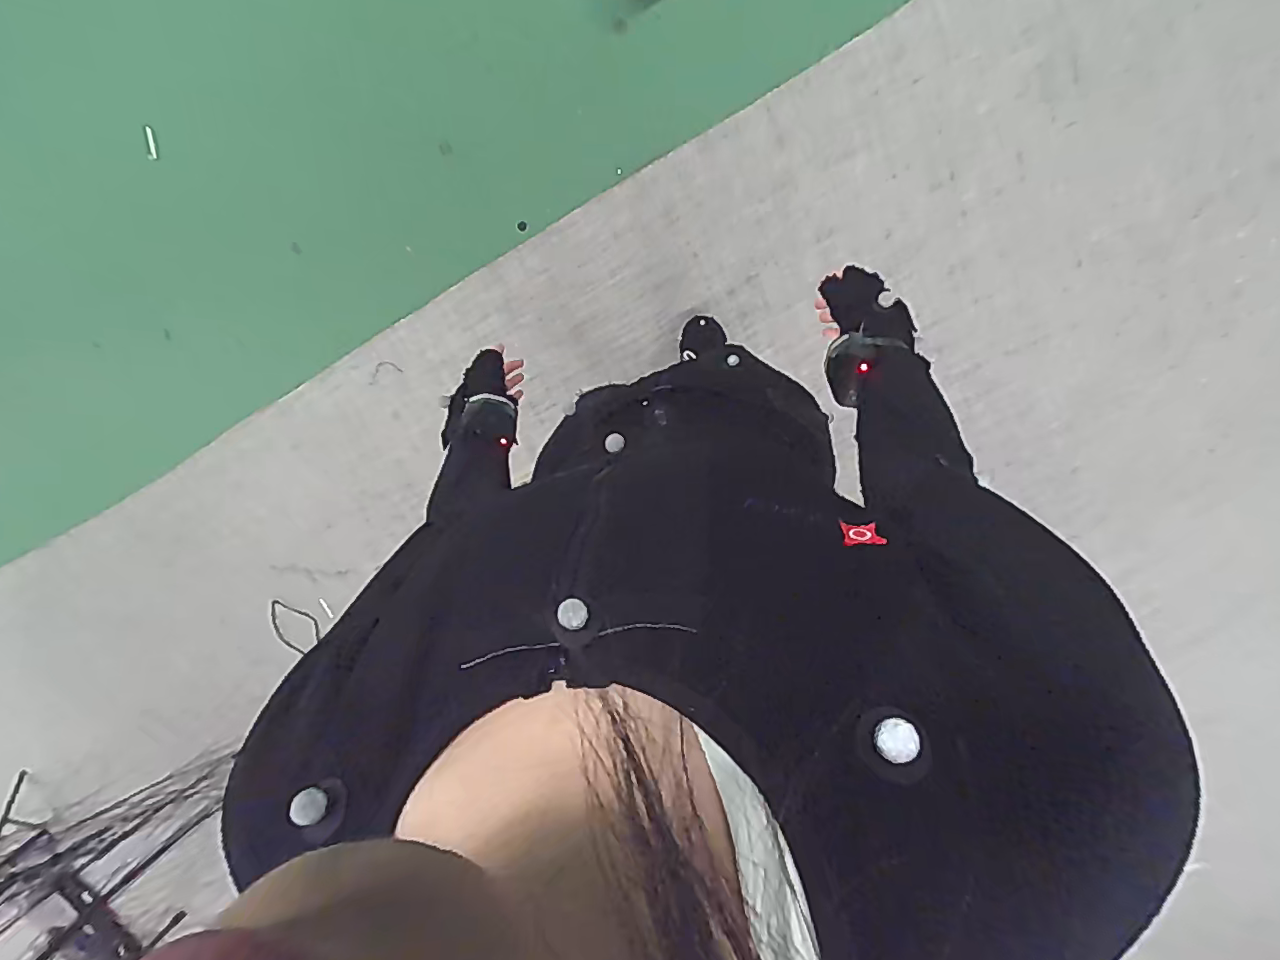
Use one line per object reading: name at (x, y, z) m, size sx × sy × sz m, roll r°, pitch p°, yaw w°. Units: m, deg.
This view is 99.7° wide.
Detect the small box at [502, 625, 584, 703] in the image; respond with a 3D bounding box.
small box at (-0.282, 0.559, 1.592) m, size 0.179 × 0.176 × 0.168 m, roll -31°, pitch 100°, yaw 14°

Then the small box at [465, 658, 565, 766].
small box at (-0.325, 0.613, 1.442) m, size 0.179 × 0.176 × 0.168 m, roll -29°, pitch 101°, yaw 13°
